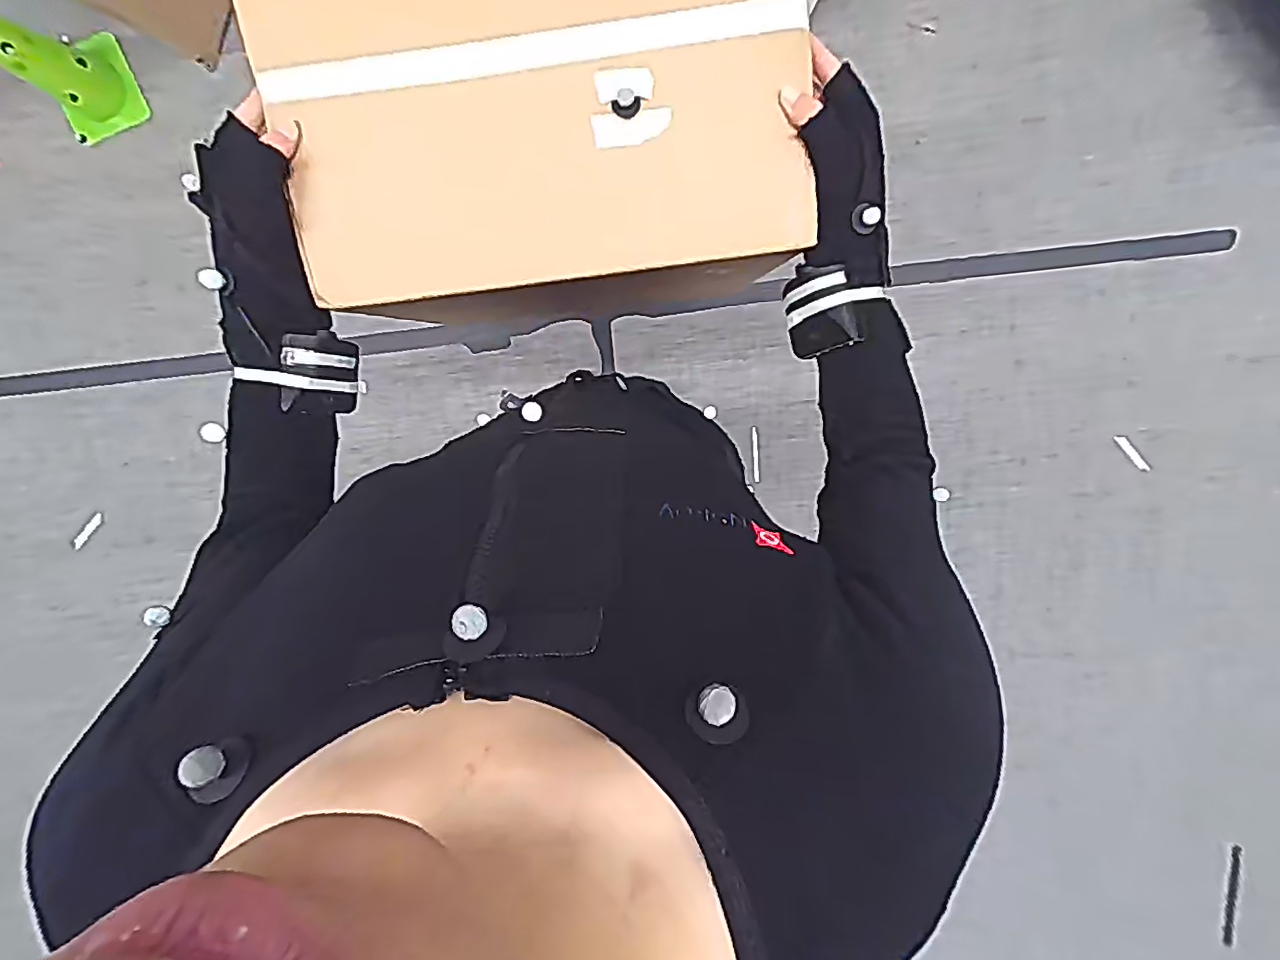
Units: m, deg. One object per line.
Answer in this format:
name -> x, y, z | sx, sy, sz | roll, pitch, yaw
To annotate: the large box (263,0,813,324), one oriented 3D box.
large box -> -0.078, -0.353, 0.553 | 0.408, 0.320, 0.320 | -7, 103, 1
